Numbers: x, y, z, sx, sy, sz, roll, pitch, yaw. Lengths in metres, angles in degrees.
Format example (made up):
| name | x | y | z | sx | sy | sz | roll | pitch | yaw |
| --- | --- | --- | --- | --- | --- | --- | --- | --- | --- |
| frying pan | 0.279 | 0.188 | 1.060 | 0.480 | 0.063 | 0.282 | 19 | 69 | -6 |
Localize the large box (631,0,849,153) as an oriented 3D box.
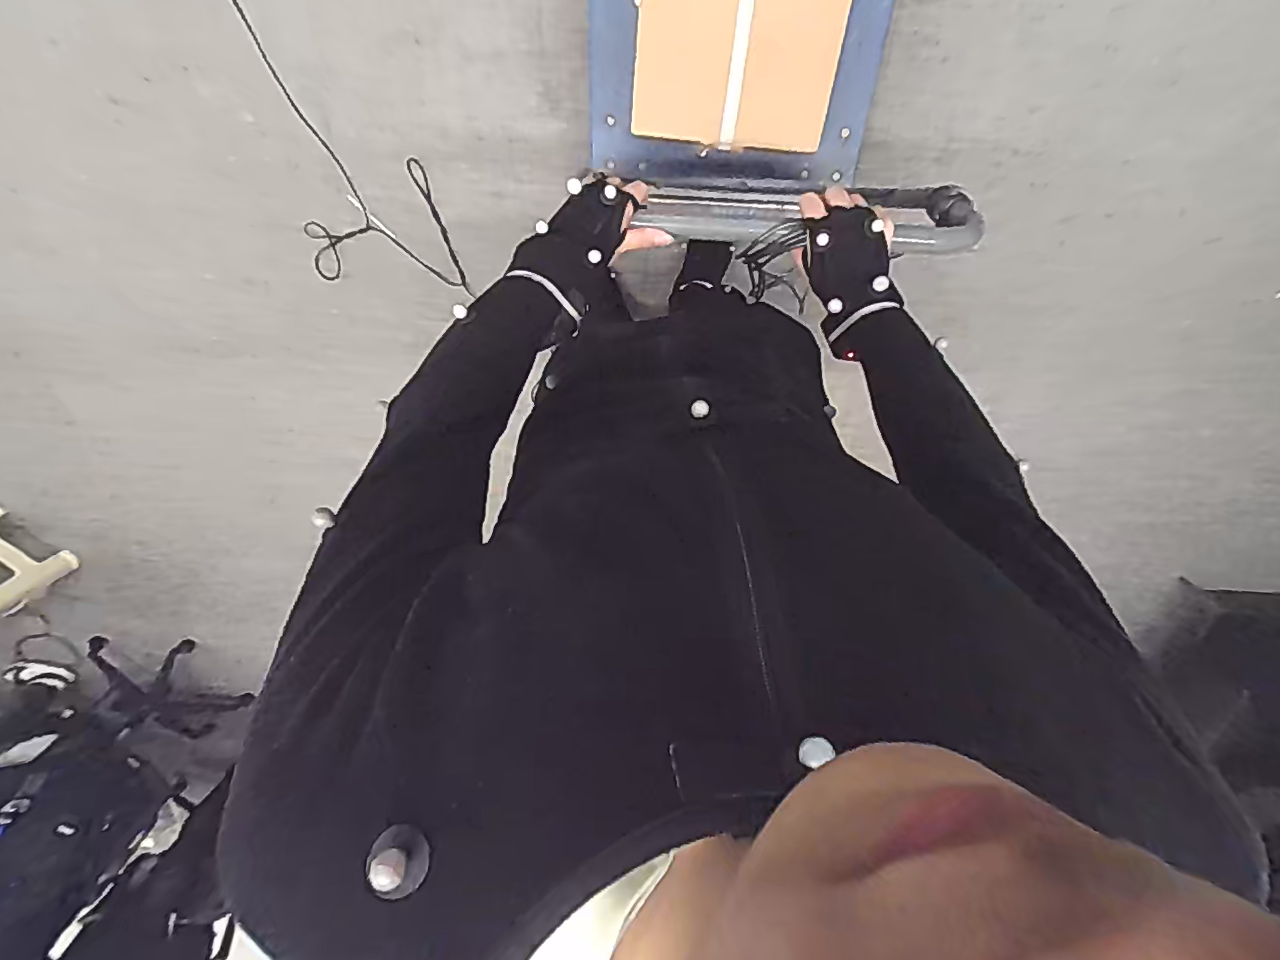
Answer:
| name | x | y | z | sx | sy | sz | roll | pitch | yaw |
| --- | --- | --- | --- | --- | --- | --- | --- | --- | --- |
| large box | 0.161 | -0.795 | 0.907 | 0.320 | 0.320 | 0.408 | 6 | 120 | -1 |
